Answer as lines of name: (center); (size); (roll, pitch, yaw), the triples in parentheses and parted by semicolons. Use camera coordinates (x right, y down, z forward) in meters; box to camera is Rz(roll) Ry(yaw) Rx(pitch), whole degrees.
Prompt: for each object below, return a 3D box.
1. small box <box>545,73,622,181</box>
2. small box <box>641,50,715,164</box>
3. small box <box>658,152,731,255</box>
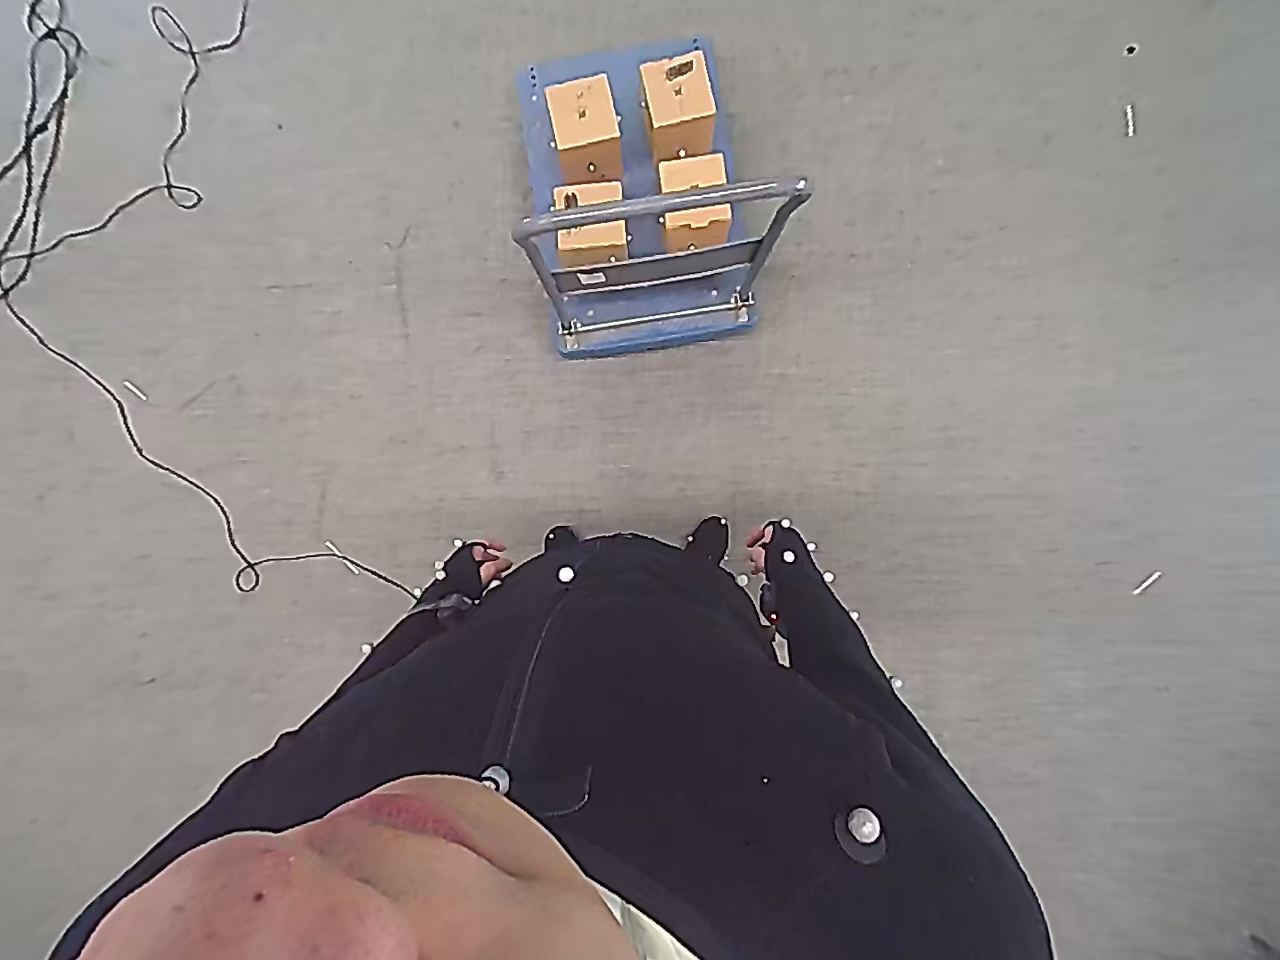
small box: (-0.146, -0.946, 1.471); (0.168, 0.176, 0.179); (-12, 86, 1)
small box: (0.099, -1.002, 1.464); (0.168, 0.176, 0.179); (-12, 87, 2)
small box: (0.140, -0.735, 1.449); (0.168, 0.176, 0.179); (-8, 87, 2)
